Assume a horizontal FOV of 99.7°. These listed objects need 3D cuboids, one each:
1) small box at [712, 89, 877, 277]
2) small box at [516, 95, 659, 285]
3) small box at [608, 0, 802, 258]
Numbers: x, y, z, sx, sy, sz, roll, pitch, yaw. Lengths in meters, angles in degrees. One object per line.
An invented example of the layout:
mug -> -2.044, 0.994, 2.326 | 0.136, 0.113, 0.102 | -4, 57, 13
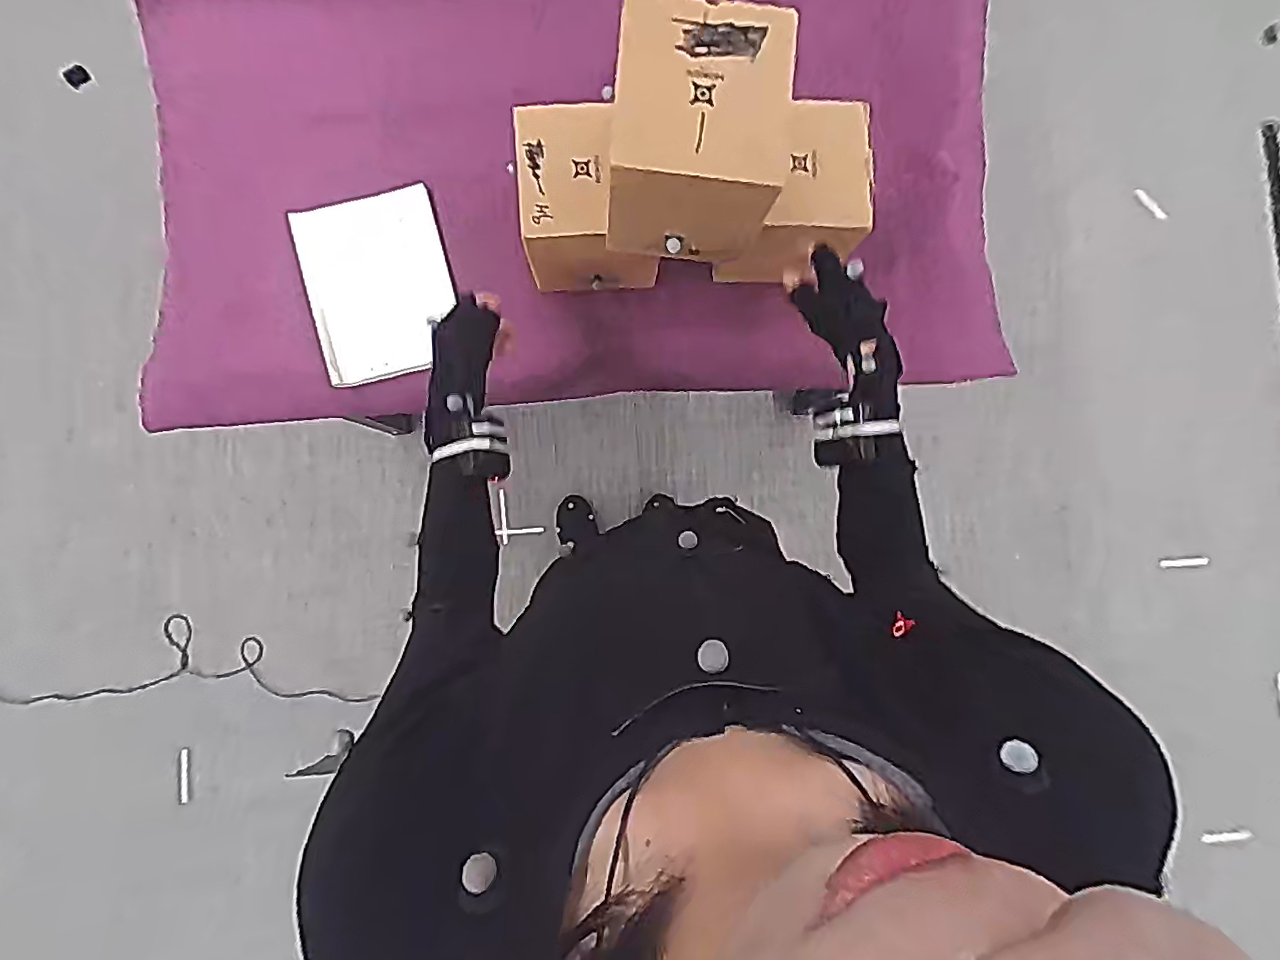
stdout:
small box -> 0.200, -0.393, 0.740 | 0.179, 0.176, 0.168 | 0, 86, -1
small box -> -0.064, -0.375, 0.725 | 0.179, 0.176, 0.168 | -4, 87, -4
small box -> 0.056, -0.363, 0.566 | 0.168, 0.176, 0.179 | 5, 87, -3
